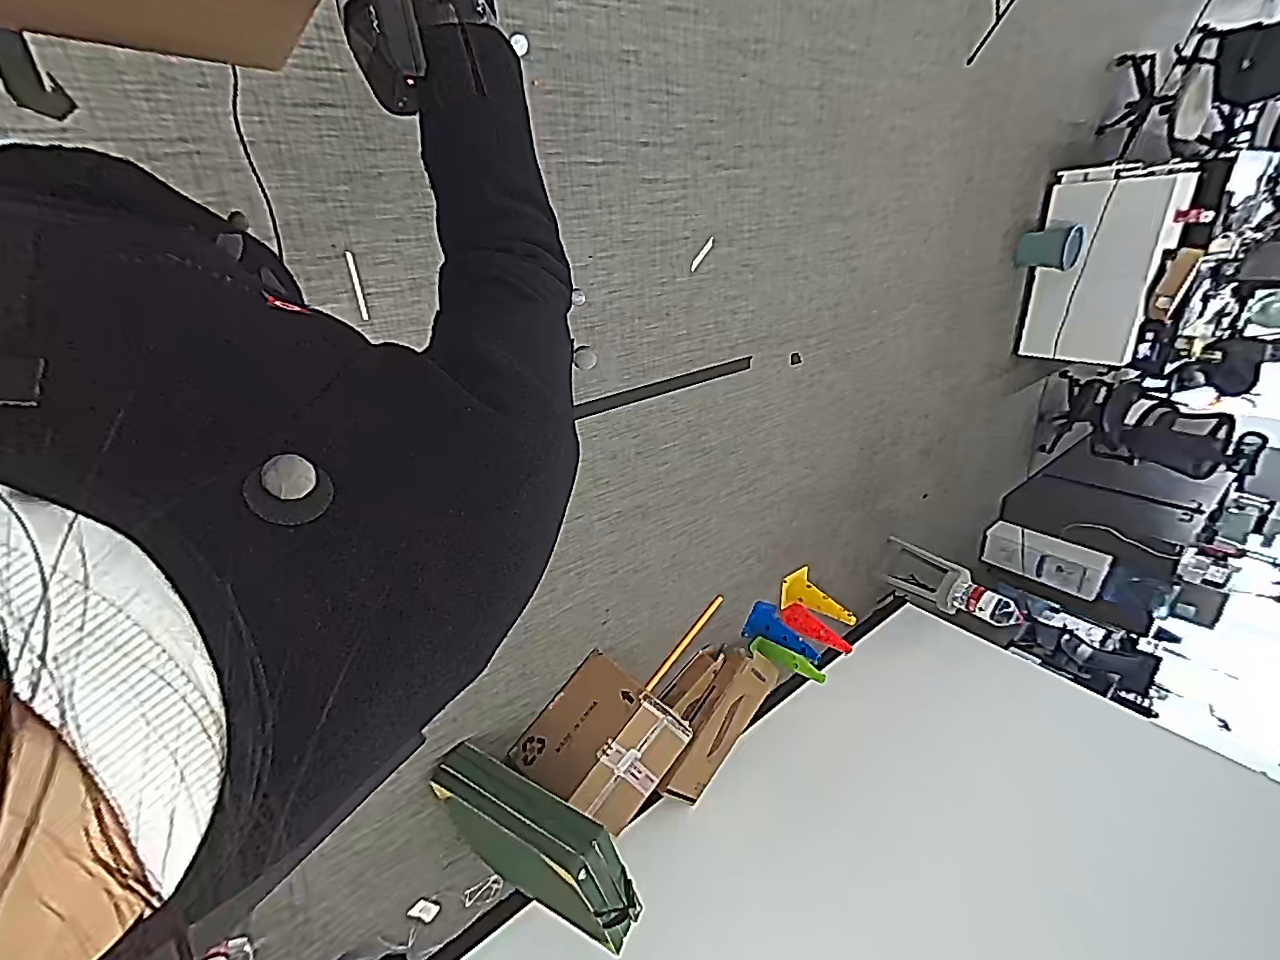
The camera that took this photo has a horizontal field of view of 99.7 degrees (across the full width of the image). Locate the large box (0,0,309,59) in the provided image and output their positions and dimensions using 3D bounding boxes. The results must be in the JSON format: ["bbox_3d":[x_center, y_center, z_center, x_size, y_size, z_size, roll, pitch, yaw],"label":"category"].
[{"bbox_3d":[-0.414,-0.438,0.240,0.408,0.320,0.320,-18,122,-34],"label":"large box"}]
